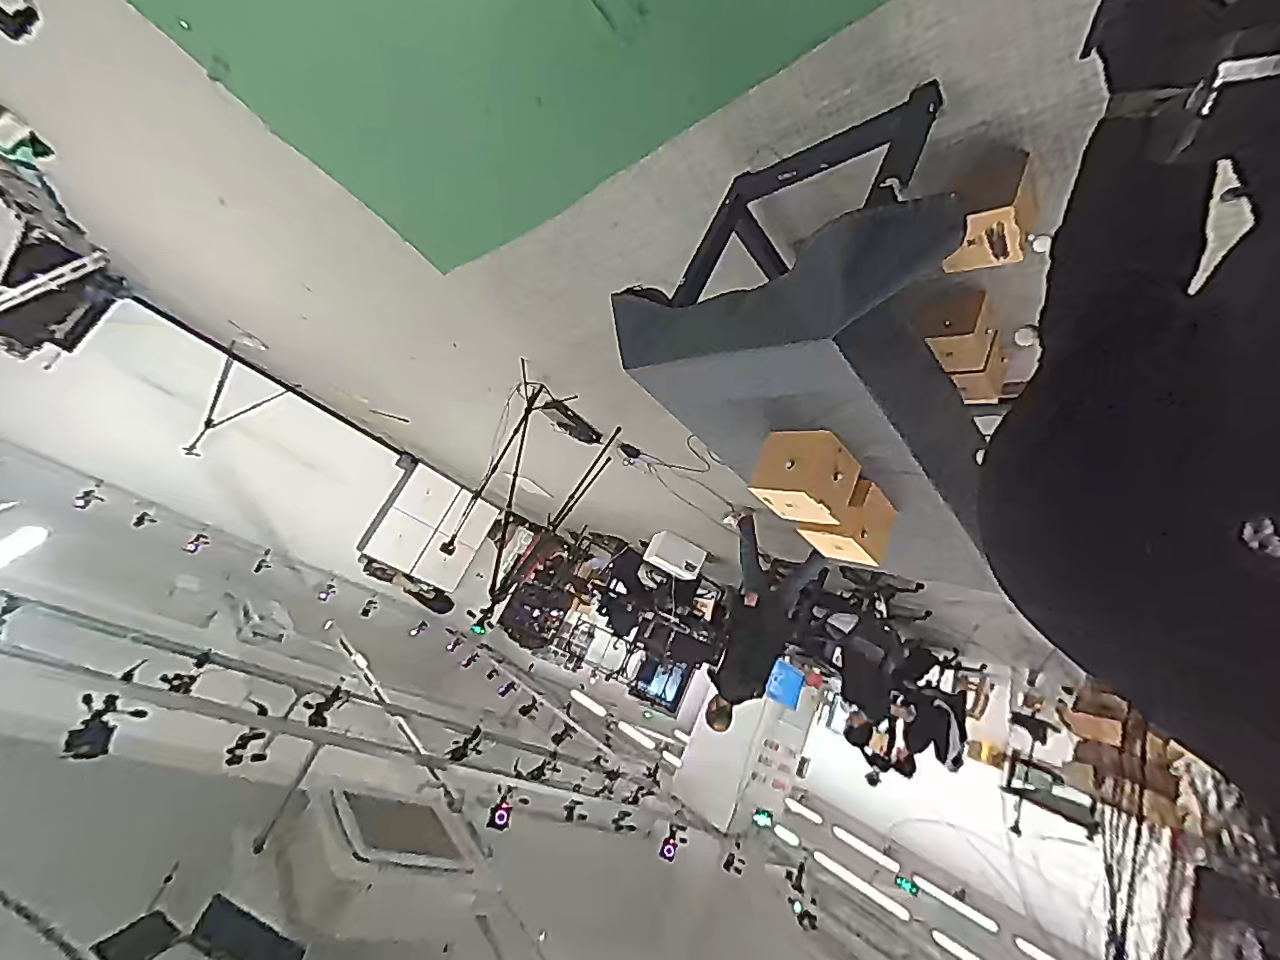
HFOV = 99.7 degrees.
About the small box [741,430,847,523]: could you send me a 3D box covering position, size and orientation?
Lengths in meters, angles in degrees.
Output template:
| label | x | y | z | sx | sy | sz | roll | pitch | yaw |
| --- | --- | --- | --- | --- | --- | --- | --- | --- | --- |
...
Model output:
| label | x | y | z | sx | sy | sz | roll | pitch | yaw |
| --- | --- | --- | --- | --- | --- | --- | --- | --- | --- |
| small box | 0.382 | -0.011 | 1.317 | 0.168 | 0.176 | 0.179 | 37 | 159 | -33 |
